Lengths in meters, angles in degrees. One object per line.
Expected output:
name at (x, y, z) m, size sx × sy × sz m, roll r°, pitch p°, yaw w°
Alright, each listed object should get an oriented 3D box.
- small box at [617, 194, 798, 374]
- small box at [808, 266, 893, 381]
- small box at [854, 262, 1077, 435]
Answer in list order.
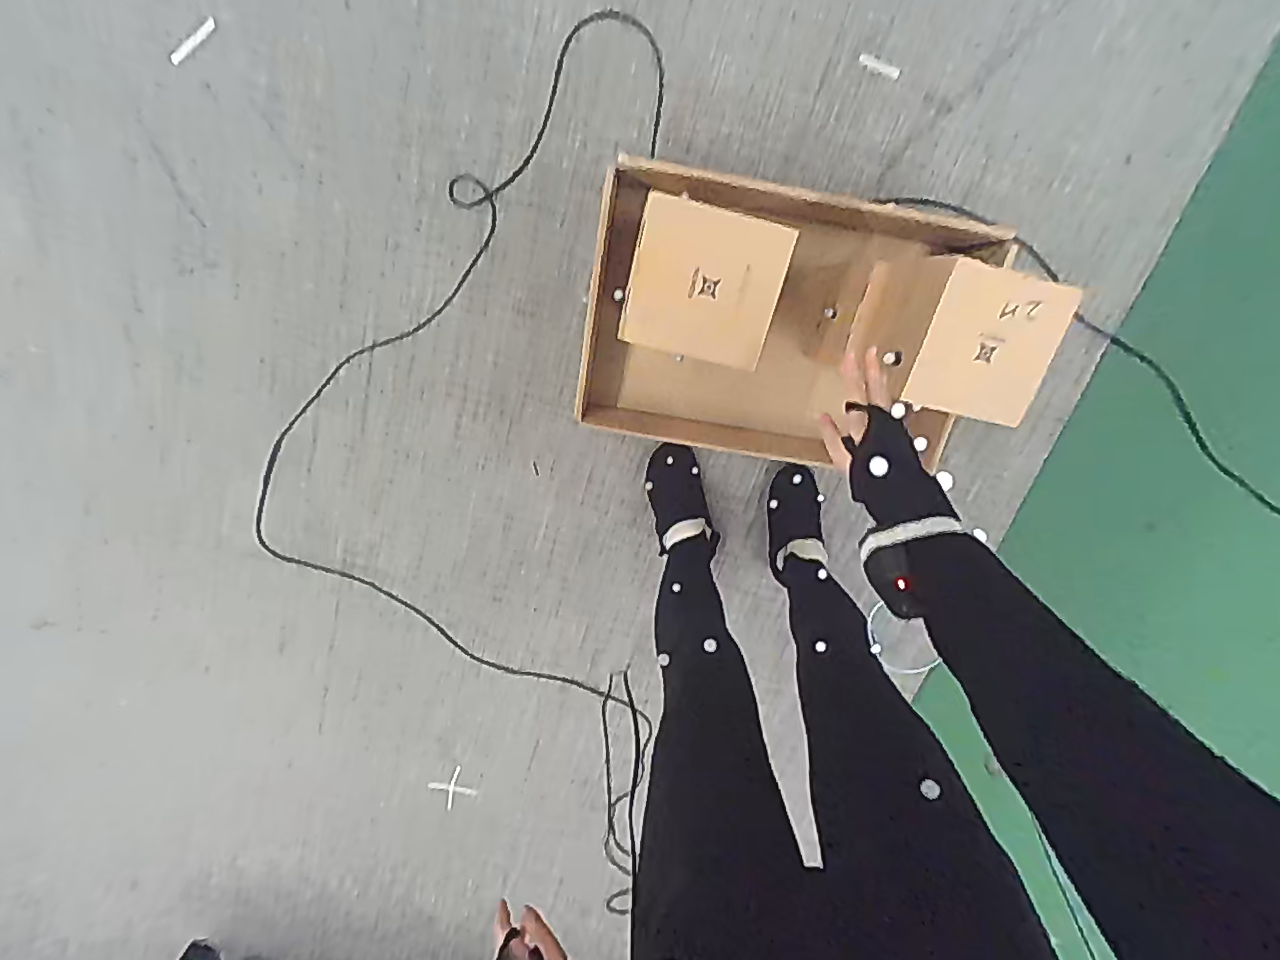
small box at (0.075, -0.250, 0.704) m, size 0.179 × 0.176 × 0.168 m, roll 13°, pitch 110°, yaw -6°
small box at (0.400, -0.240, 0.887) m, size 0.179 × 0.176 × 0.168 m, roll 13°, pitch 109°, yaw -5°
small box at (0.417, -0.181, 0.733) m, size 0.168 × 0.176 × 0.179 m, roll 13°, pitch 108°, yaw -7°
